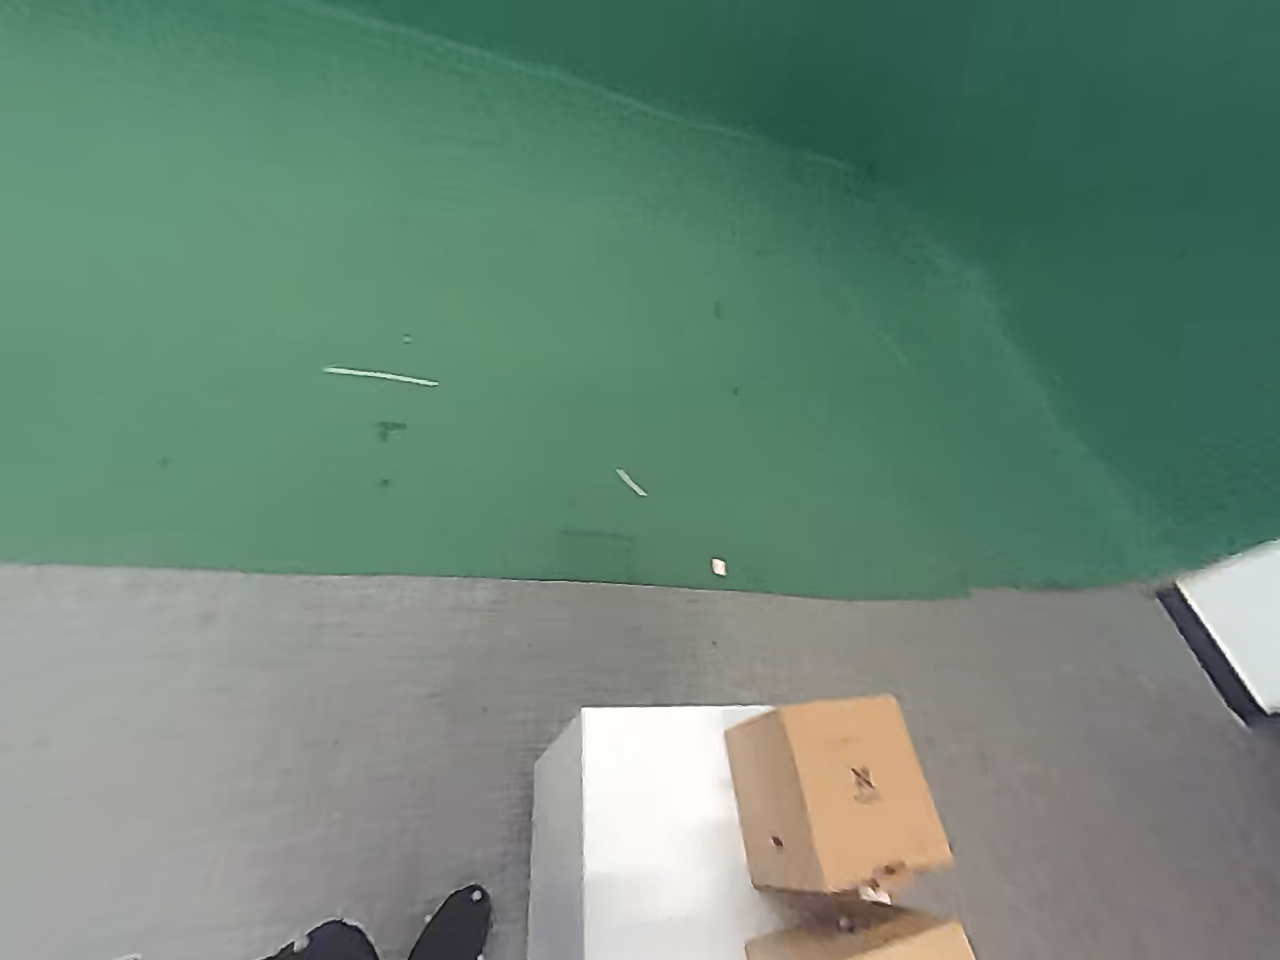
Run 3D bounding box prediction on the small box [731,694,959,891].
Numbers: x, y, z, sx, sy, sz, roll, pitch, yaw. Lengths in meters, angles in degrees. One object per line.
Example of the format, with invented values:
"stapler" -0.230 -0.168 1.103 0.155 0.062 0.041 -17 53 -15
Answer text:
"small box" 0.230 0.373 0.657 0.168 0.176 0.179 3 56 -18
